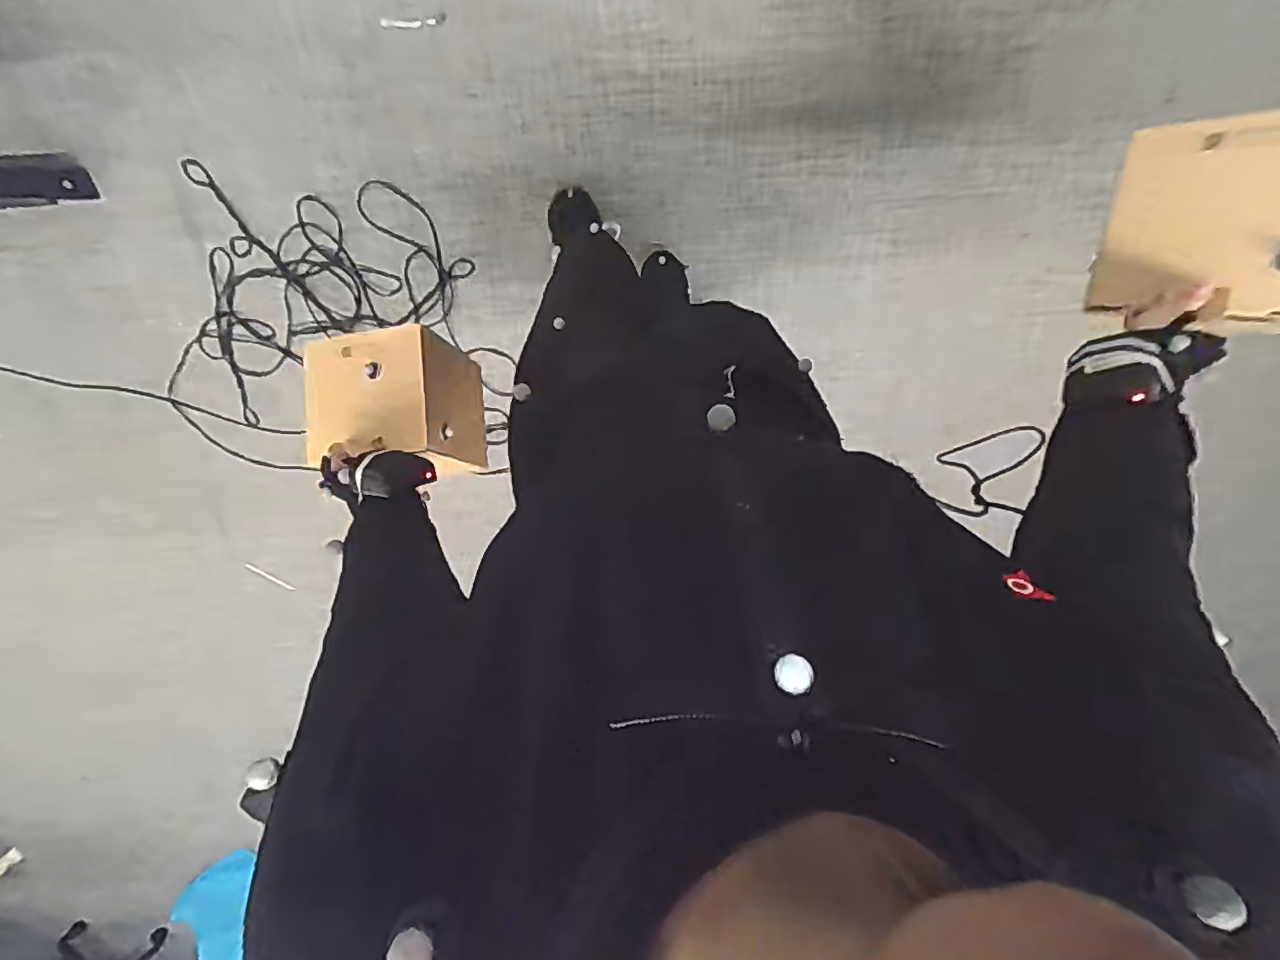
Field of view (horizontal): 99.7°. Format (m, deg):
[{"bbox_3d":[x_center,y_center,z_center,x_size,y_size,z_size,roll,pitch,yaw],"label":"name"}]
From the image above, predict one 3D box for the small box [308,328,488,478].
[{"bbox_3d":[-0.330,-0.098,0.758,0.168,0.179,0.176,-7,85,9],"label":"small box"}]
